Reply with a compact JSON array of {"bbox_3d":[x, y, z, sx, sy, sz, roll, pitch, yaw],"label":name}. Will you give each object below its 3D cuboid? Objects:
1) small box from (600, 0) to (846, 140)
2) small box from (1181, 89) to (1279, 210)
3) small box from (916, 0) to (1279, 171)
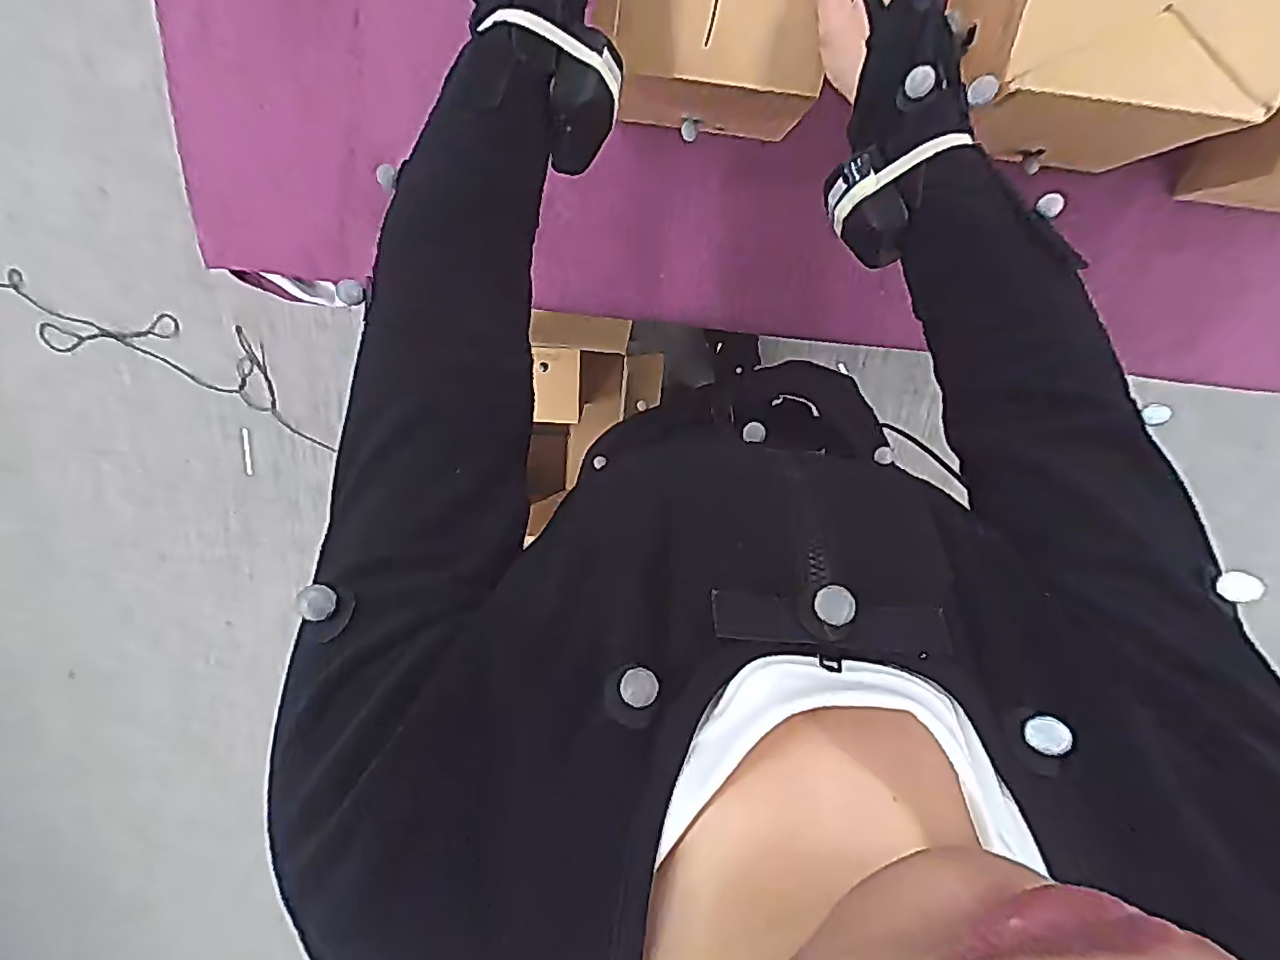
[{"bbox_3d":[0.067,-0.393,0.423,0.168,0.176,0.179,8,113,1],"label":"small box"},{"bbox_3d":[0.589,-0.306,0.401,0.179,0.176,0.168,9,107,3],"label":"small box"},{"bbox_3d":[0.349,-0.356,0.409,0.179,0.176,0.168,10,108,3],"label":"small box"}]
